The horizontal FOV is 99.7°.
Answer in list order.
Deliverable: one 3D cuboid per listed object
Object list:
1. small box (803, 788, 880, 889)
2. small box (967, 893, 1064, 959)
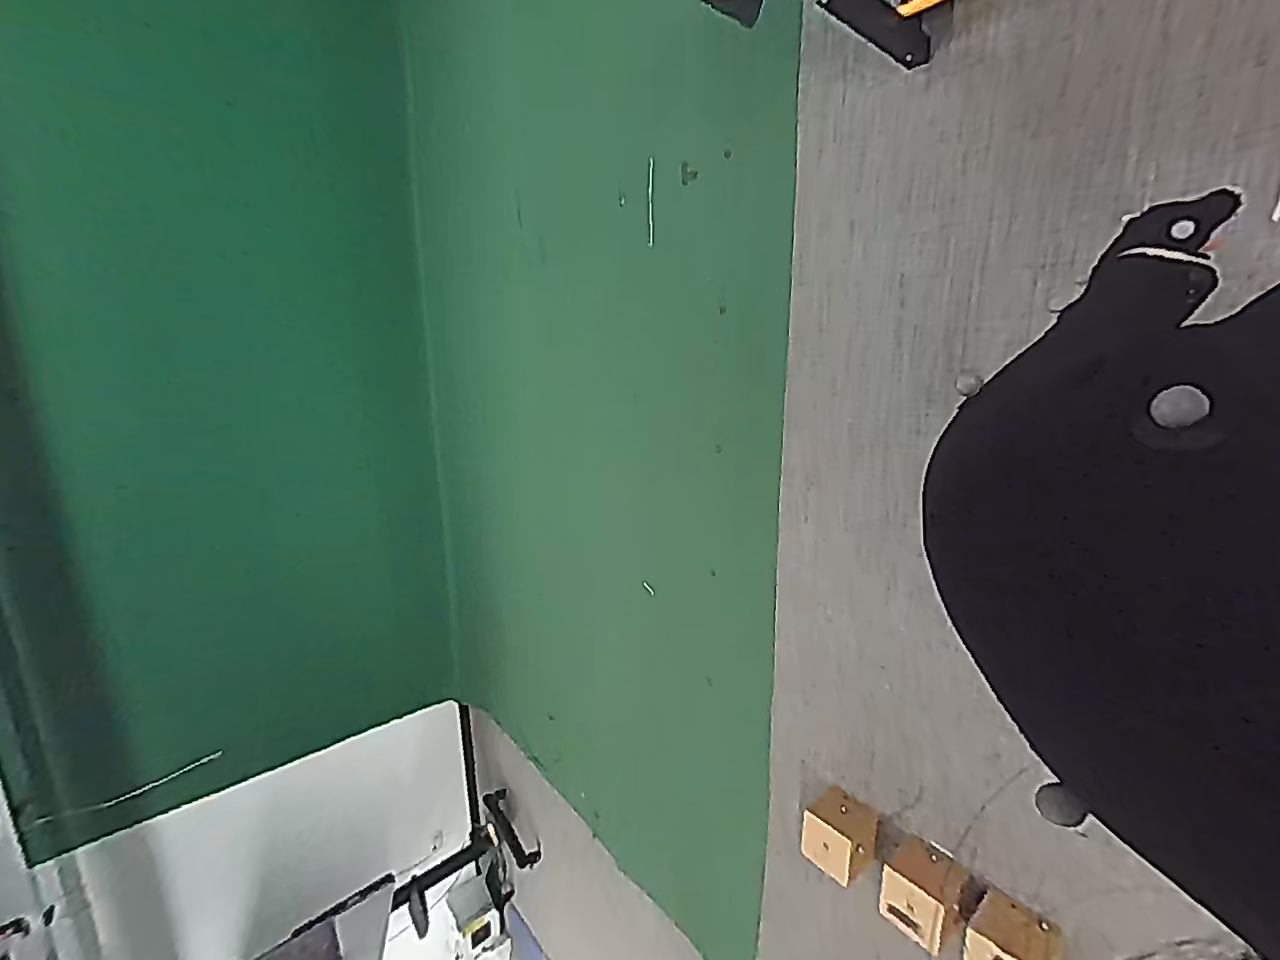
[{"bbox_3d":[0.652,1.144,1.744,0.168,0.176,0.179,15,110,50],"label":"small box"},{"bbox_3d":[0.957,1.223,1.380,0.168,0.176,0.179,13,109,49],"label":"small box"}]
